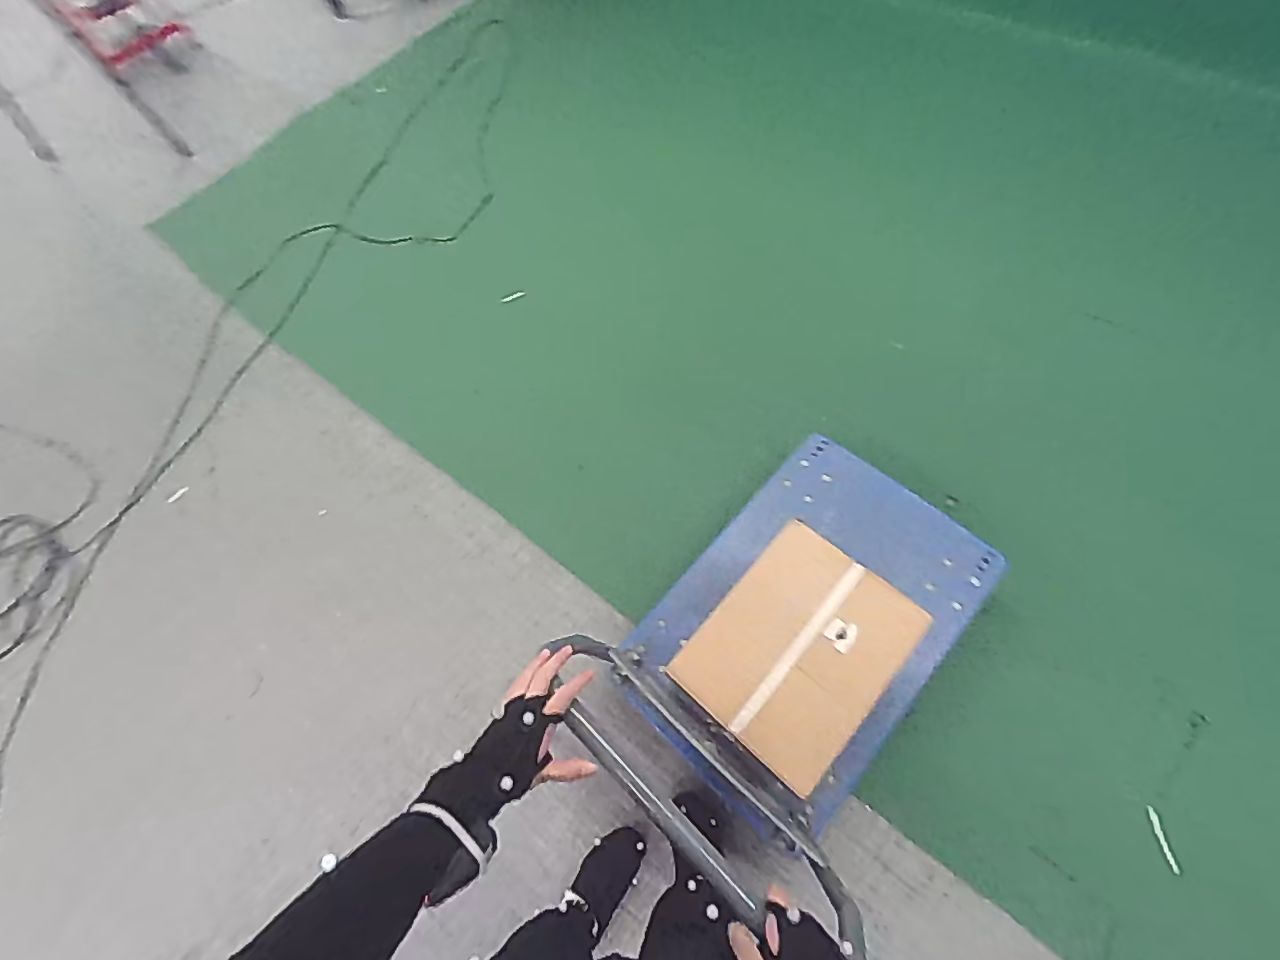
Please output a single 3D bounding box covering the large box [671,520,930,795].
[{"bbox_3d":[0.312,0.369,1.138,0.320,0.320,0.408,39,75,20],"label":"large box"}]
